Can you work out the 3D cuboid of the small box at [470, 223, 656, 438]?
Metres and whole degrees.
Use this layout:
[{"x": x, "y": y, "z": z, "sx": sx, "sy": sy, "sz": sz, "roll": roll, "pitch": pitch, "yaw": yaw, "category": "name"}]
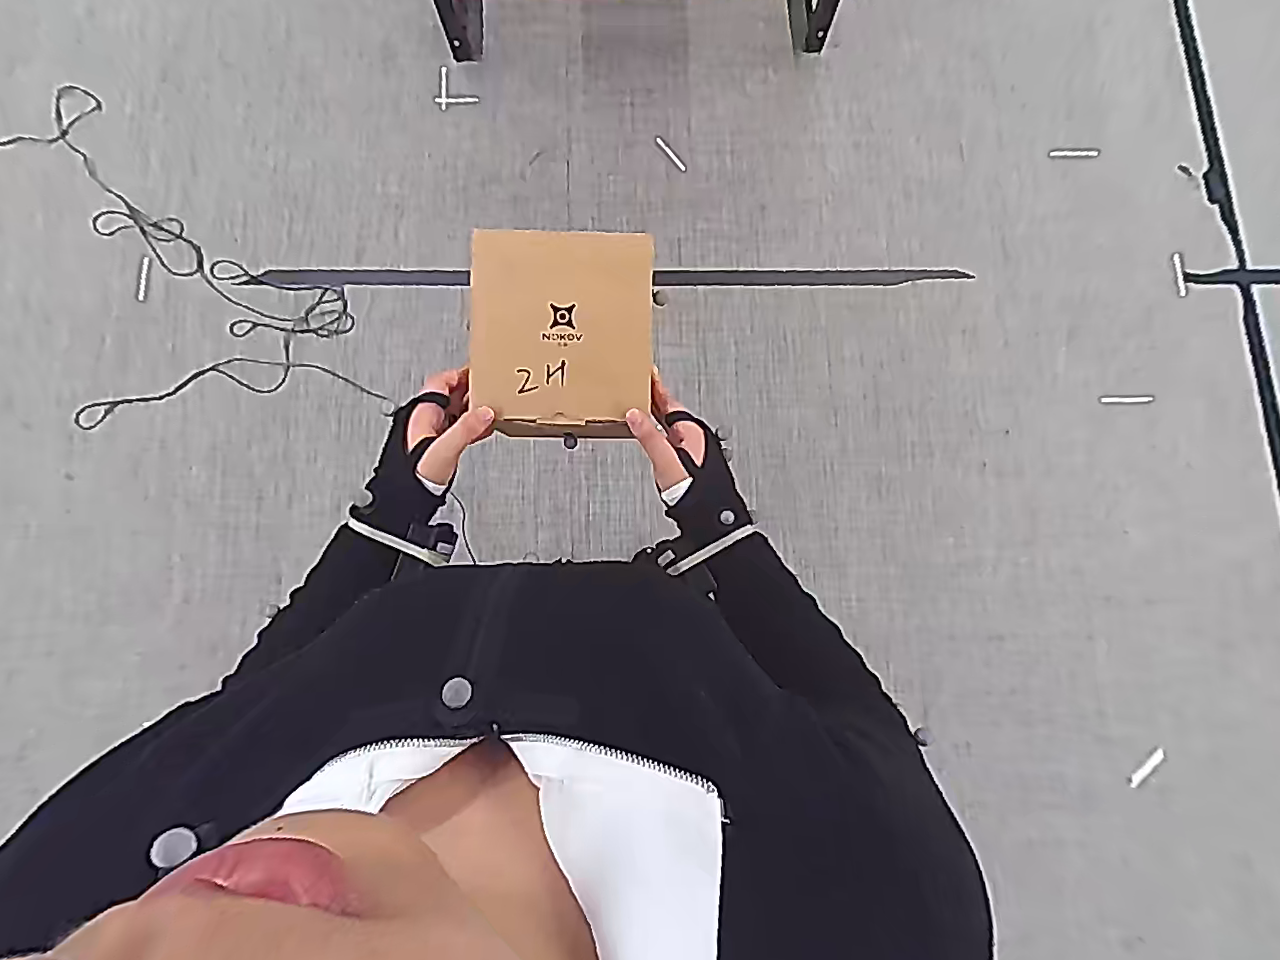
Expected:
[{"x": -0.072, "y": -0.142, "z": 0.569, "sx": 0.168, "sy": 0.176, "sz": 0.179, "roll": 1, "pitch": 88, "yaw": -1, "category": "small box"}]
